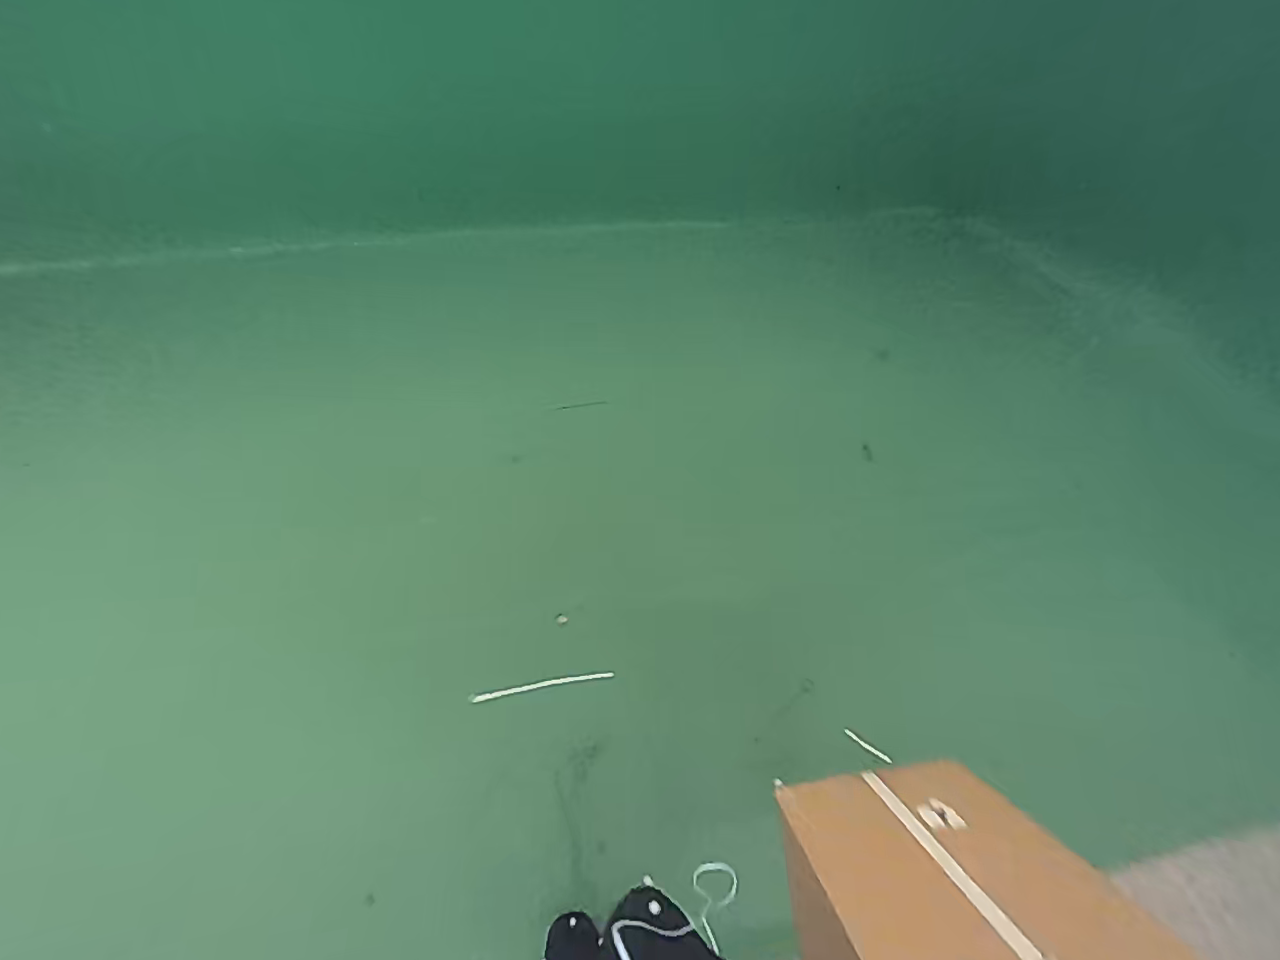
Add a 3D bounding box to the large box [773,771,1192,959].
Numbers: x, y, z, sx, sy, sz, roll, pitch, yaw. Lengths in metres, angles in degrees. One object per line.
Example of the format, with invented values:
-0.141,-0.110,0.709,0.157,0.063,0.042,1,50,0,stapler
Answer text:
0.402,0.649,0.698,0.320,0.408,0.320,-7,87,-3,large box
